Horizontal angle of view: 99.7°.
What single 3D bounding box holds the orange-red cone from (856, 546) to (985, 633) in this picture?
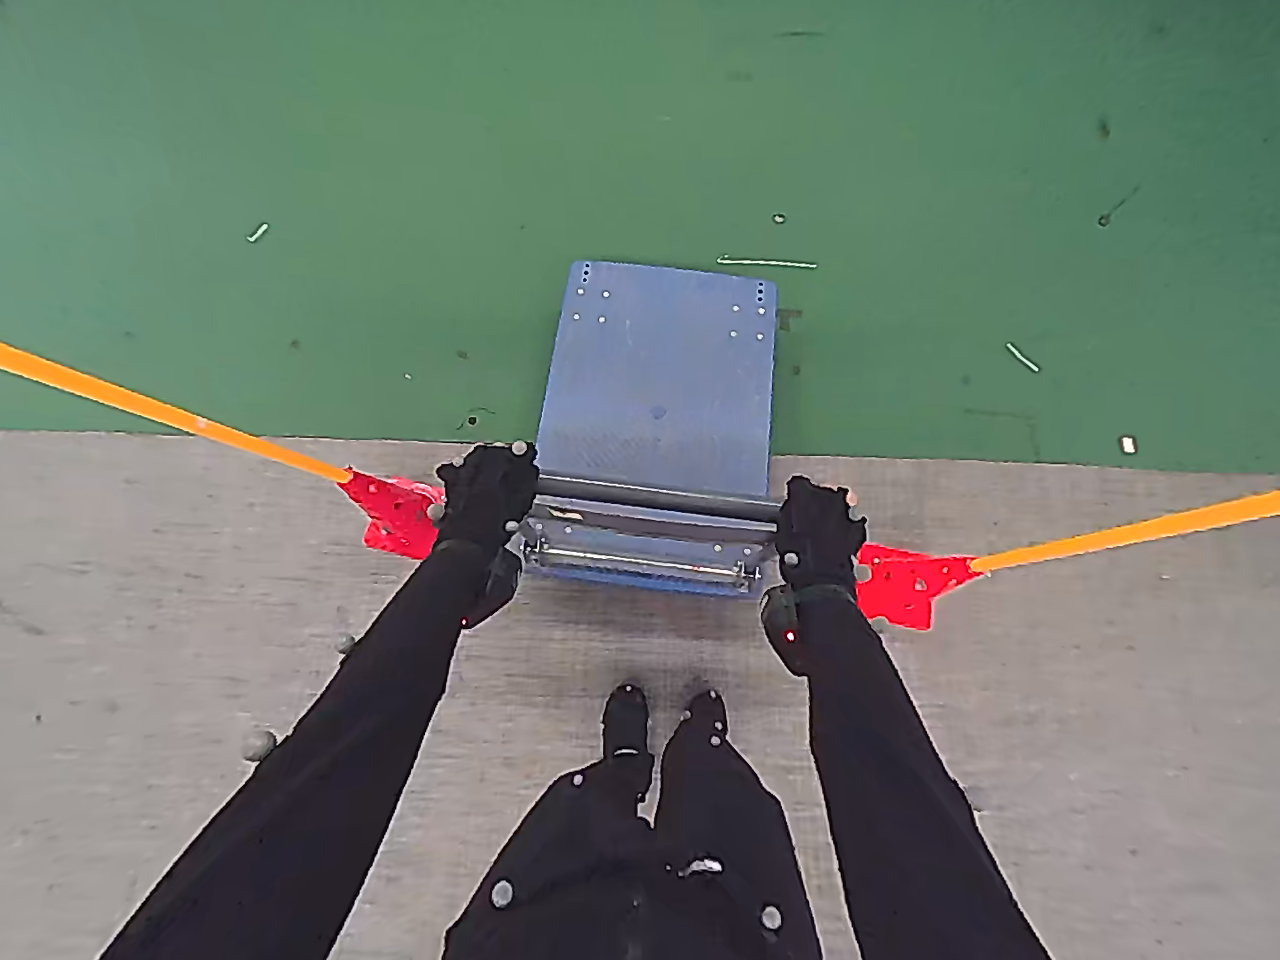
[{"bbox_3d":[0.671,0.230,1.247,0.198,0.360,0.199,12,73,3],"label":"orange-red cone"}]
